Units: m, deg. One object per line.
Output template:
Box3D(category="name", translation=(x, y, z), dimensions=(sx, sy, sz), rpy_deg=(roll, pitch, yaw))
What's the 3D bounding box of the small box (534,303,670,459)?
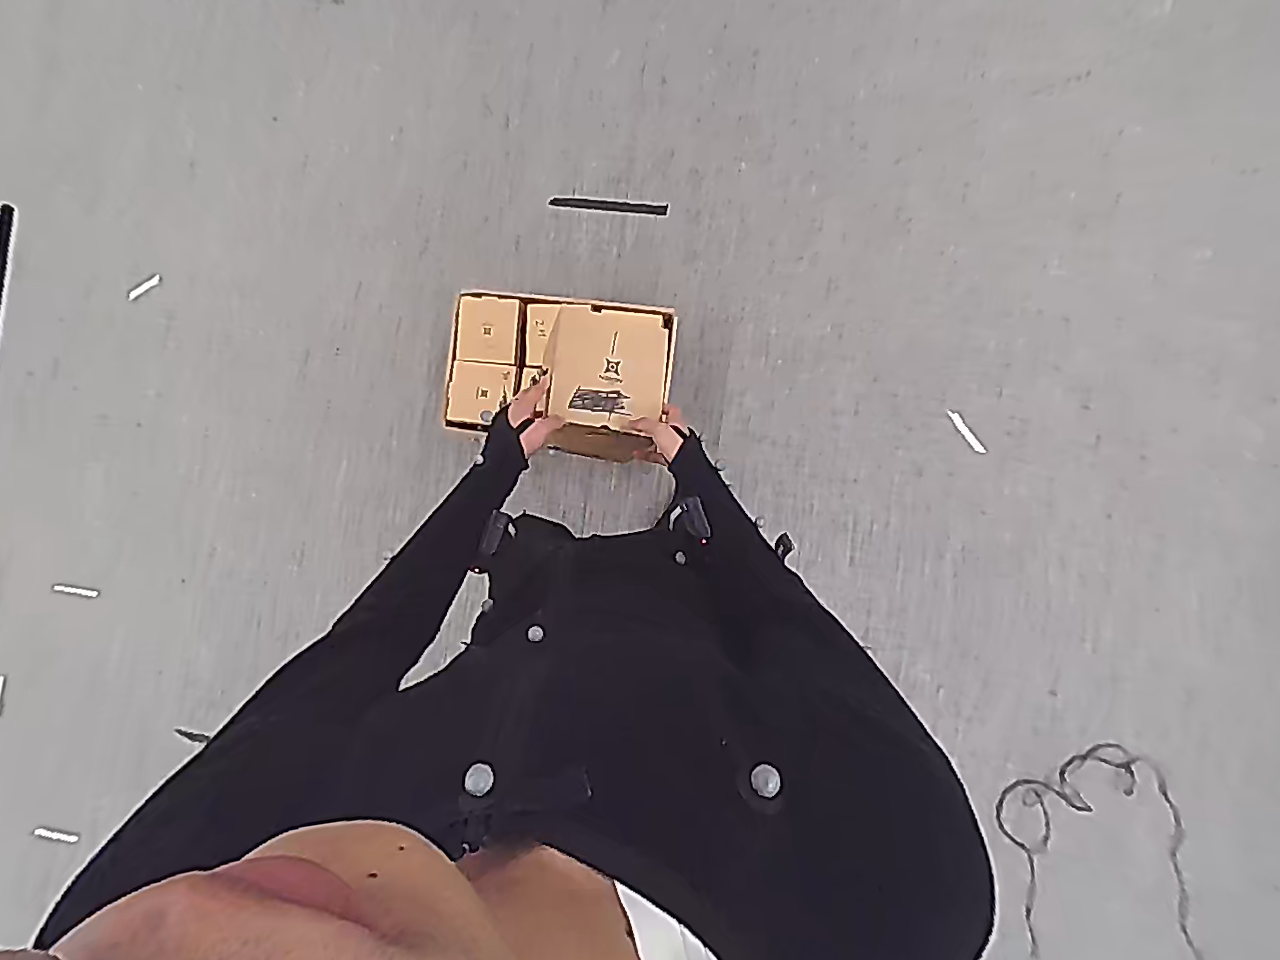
Box3D(category="small box", translation=(-0.065, -0.139, 0.835), dimensions=(0.168, 0.176, 0.179), rpy_deg=(9, 77, -17))
